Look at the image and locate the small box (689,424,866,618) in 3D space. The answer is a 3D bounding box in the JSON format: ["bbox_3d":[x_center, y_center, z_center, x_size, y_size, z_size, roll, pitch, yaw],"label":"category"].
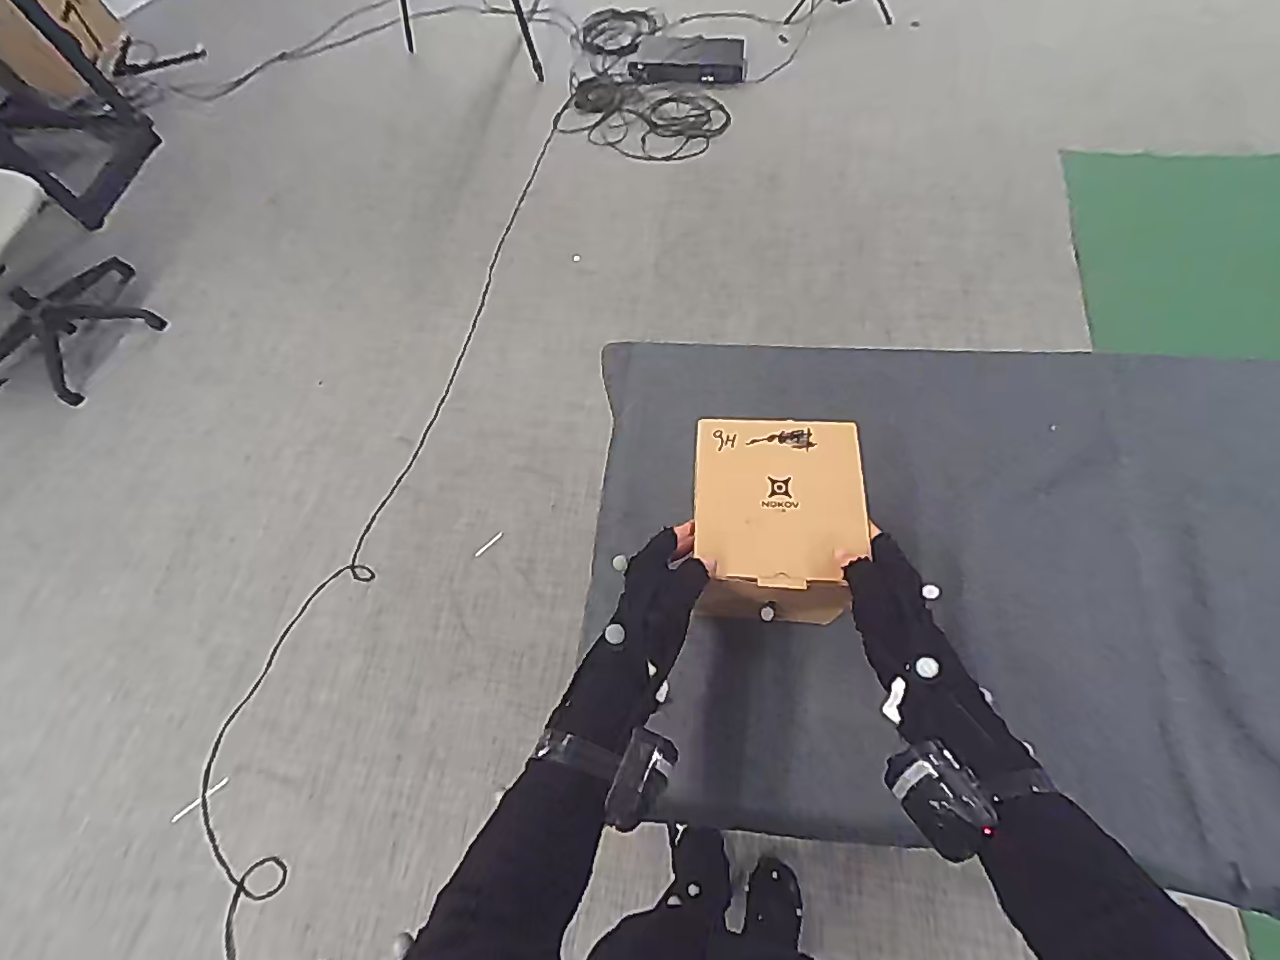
[{"bbox_3d":[0.143,0.053,0.612,0.168,0.176,0.179,2,65,7],"label":"small box"}]
